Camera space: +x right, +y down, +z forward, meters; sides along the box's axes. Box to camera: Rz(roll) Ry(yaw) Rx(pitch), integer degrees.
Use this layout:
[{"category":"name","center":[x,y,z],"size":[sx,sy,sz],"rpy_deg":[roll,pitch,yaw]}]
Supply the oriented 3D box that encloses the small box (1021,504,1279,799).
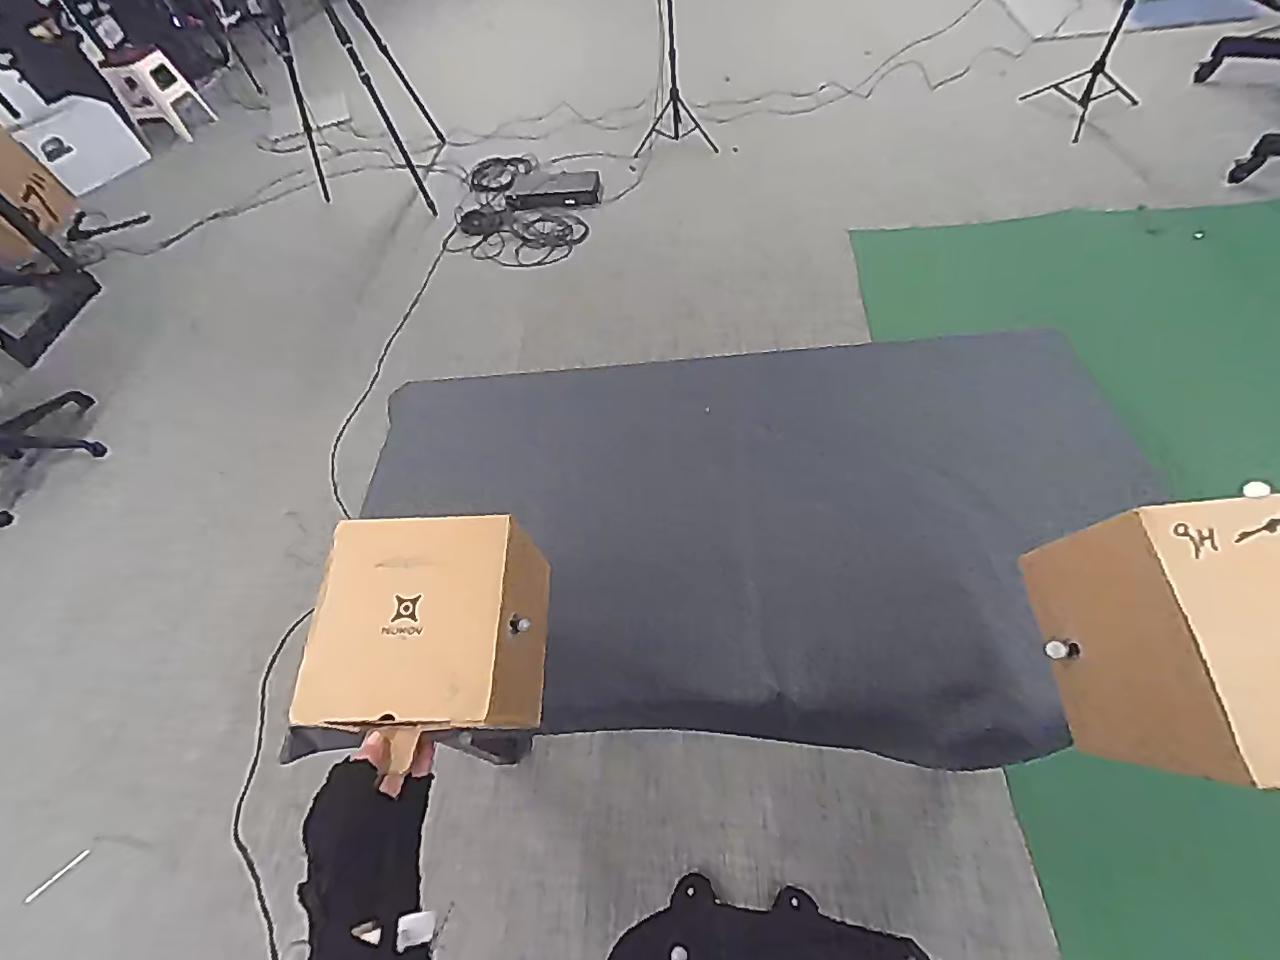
[{"category":"small box","center":[0.440,0.124,0.414],"size":[0.168,0.176,0.179],"rpy_deg":[-6,70,5]}]

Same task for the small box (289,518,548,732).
[{"category":"small box","center":[-0.191,0.149,0.527],"size":[0.168,0.176,0.179],"rpy_deg":[-2,64,3]}]
